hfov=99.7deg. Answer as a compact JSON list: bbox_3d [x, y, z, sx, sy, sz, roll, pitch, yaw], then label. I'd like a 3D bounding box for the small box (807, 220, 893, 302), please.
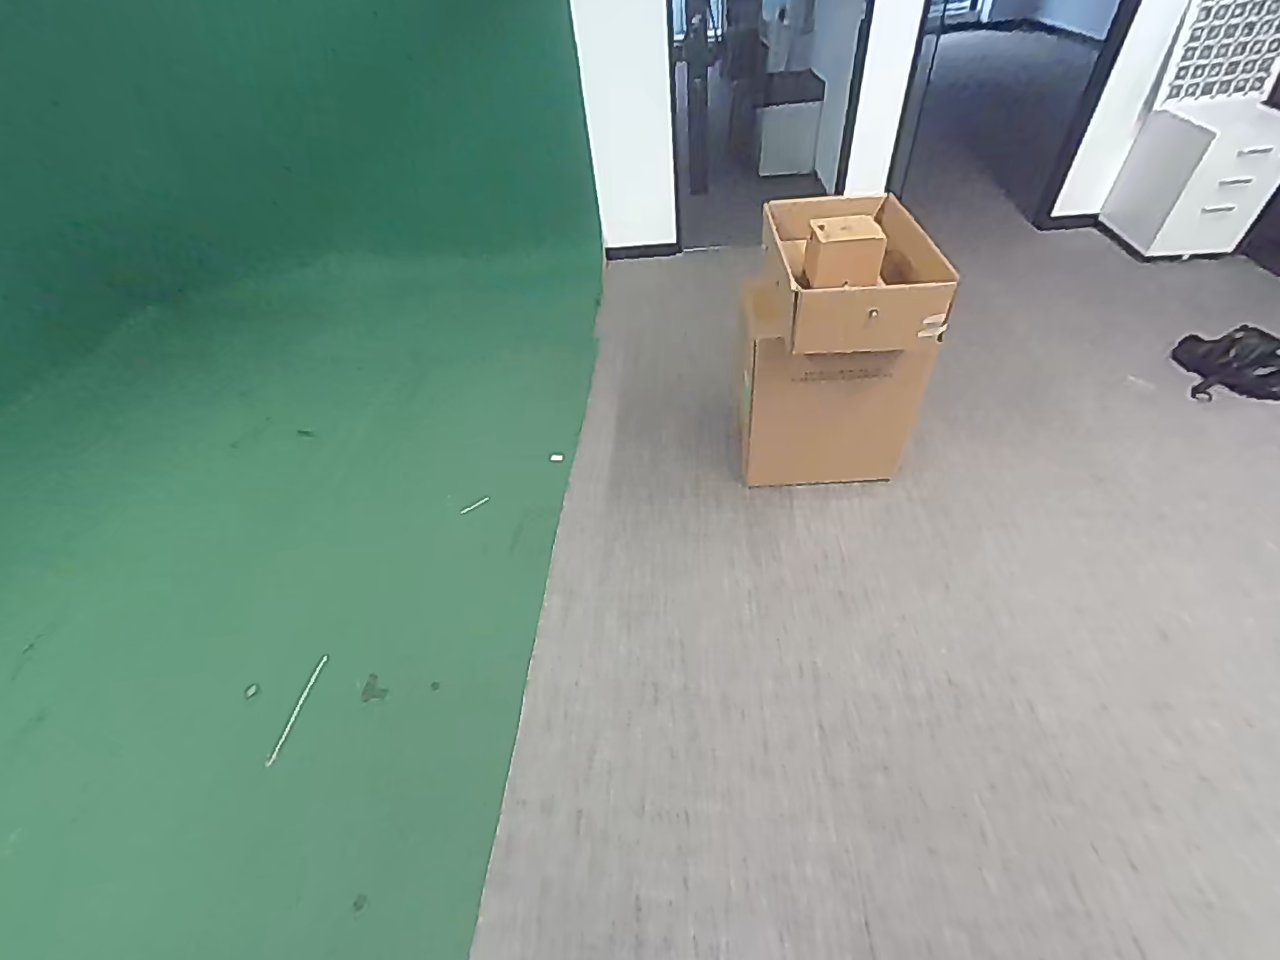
[{"bbox_3d":[0.591,-0.624,1.545,0.179,0.176,0.168,-1,44,4],"label":"small box"}]
